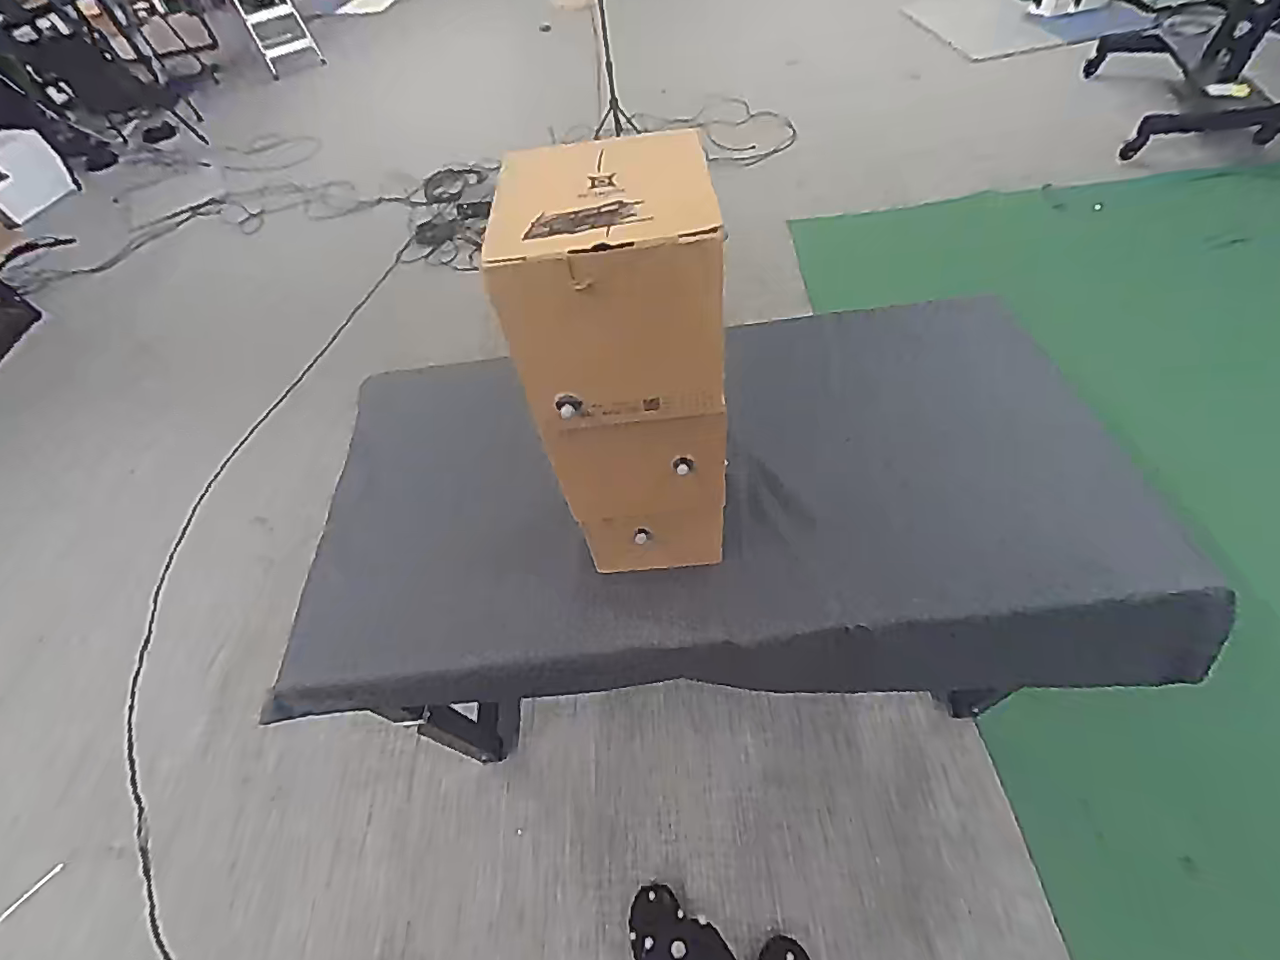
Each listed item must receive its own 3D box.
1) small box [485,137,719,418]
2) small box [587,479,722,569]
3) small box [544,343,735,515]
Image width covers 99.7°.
[{"bbox_3d":[-0.020,-0.167,0.478,0.168,0.176,0.179,-5,52,3],"label":"small box"},{"bbox_3d":[0.016,0.010,0.753,0.179,0.176,0.168,-7,52,1],"label":"small box"},{"bbox_3d":[-0.002,-0.080,0.596,0.179,0.176,0.168,-8,53,1],"label":"small box"}]
